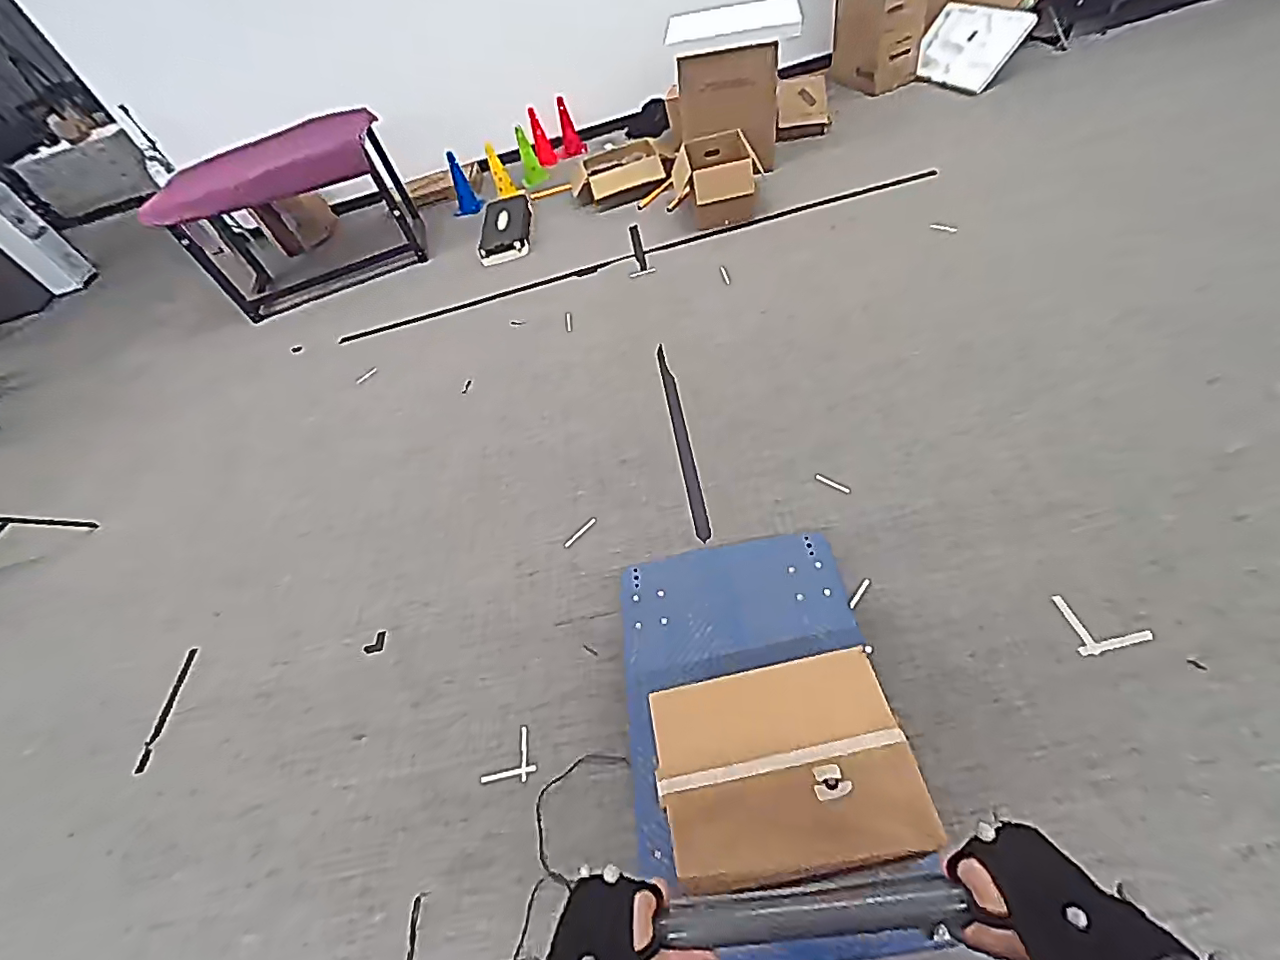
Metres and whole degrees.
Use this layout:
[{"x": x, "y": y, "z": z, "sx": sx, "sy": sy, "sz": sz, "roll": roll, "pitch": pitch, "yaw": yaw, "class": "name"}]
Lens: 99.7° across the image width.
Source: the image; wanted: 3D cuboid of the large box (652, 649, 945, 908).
[{"x": 0.263, "y": 0.565, "z": 1.011, "sx": 0.408, "sy": 0.320, "sz": 0.320, "roll": -14, "pitch": 50, "yaw": 2, "class": "large box"}]
